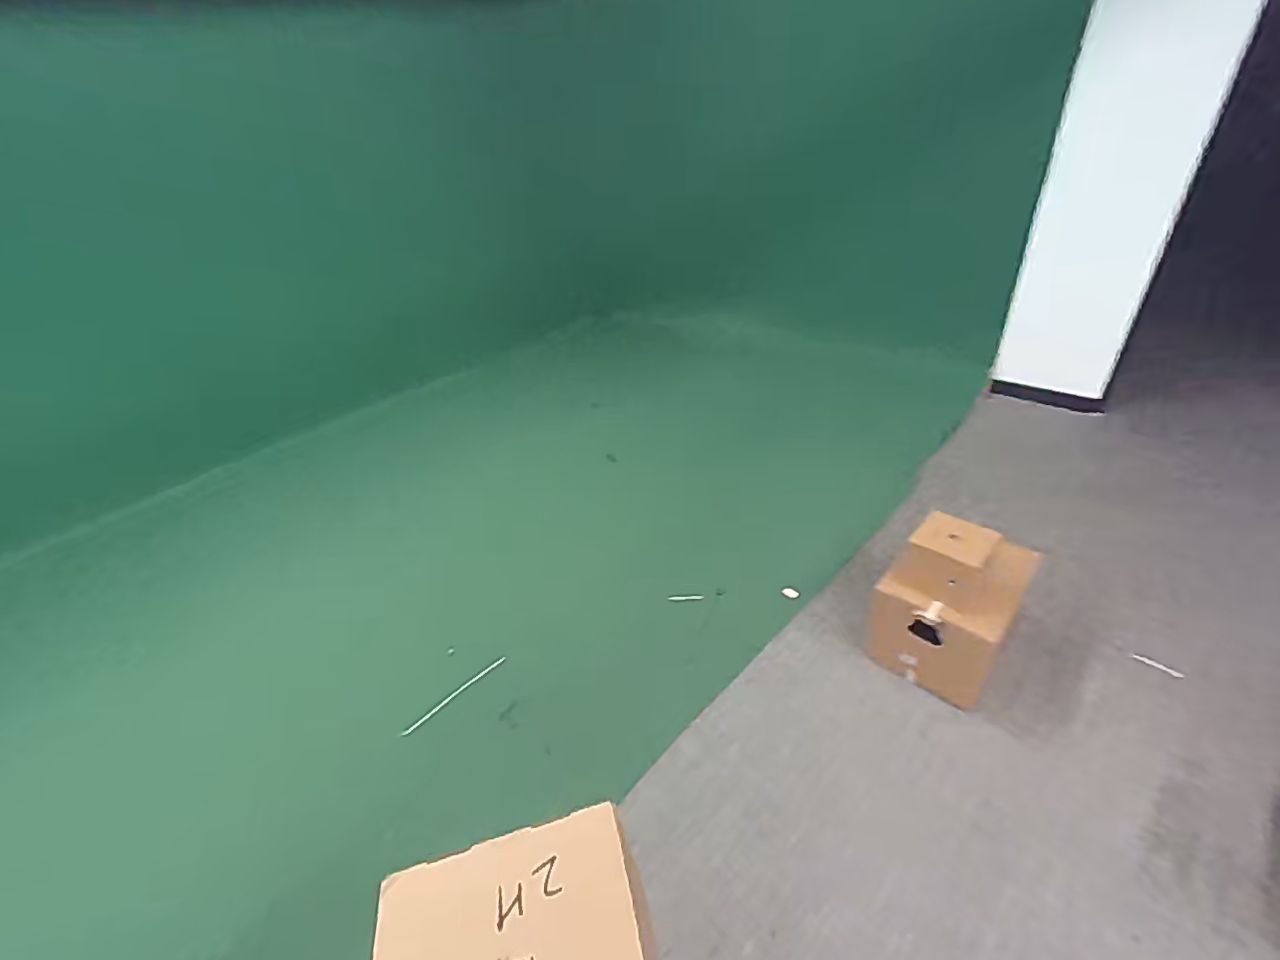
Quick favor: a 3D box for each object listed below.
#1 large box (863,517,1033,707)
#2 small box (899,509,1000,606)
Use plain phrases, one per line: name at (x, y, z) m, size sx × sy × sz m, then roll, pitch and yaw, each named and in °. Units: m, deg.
large box at (0.920, 0.384, 1.638) m, size 0.320 × 0.320 × 0.408 m, roll 25°, pitch 47°, yaw 38°
small box at (0.833, 0.215, 1.468) m, size 0.168 × 0.176 × 0.179 m, roll -32°, pitch 40°, yaw -31°
